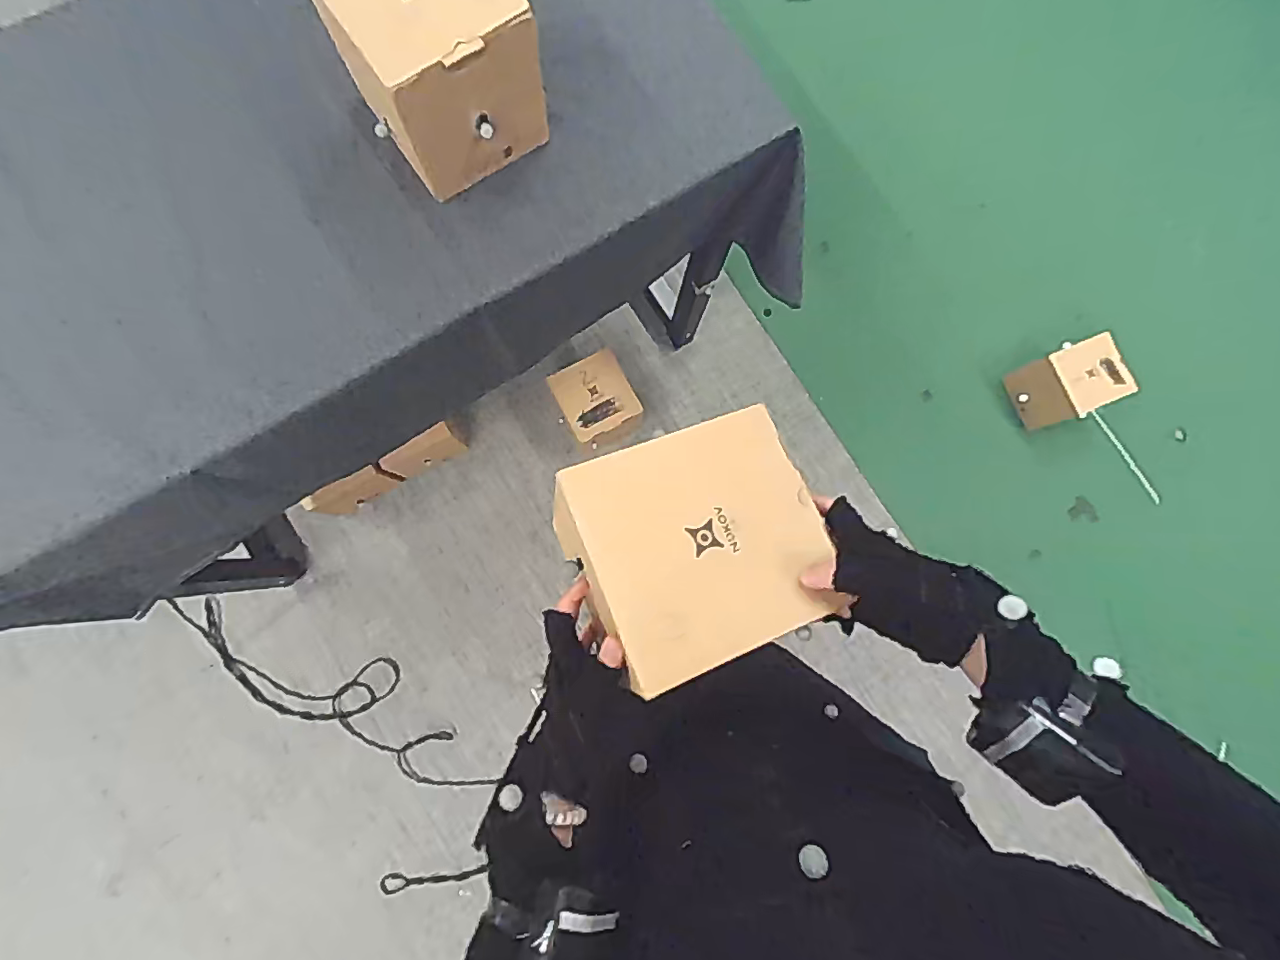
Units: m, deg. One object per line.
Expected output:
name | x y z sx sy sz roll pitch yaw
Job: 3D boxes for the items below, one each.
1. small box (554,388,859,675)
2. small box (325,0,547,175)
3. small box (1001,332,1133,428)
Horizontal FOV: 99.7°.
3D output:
small box | 0.036 0.051 0.454 0.179 0.176 0.168 -19 77 -16
small box | -0.219 -0.478 0.597 0.168 0.176 0.179 -35 86 -8
small box | 1.097 -0.253 1.403 0.179 0.176 0.168 -21 83 -6
